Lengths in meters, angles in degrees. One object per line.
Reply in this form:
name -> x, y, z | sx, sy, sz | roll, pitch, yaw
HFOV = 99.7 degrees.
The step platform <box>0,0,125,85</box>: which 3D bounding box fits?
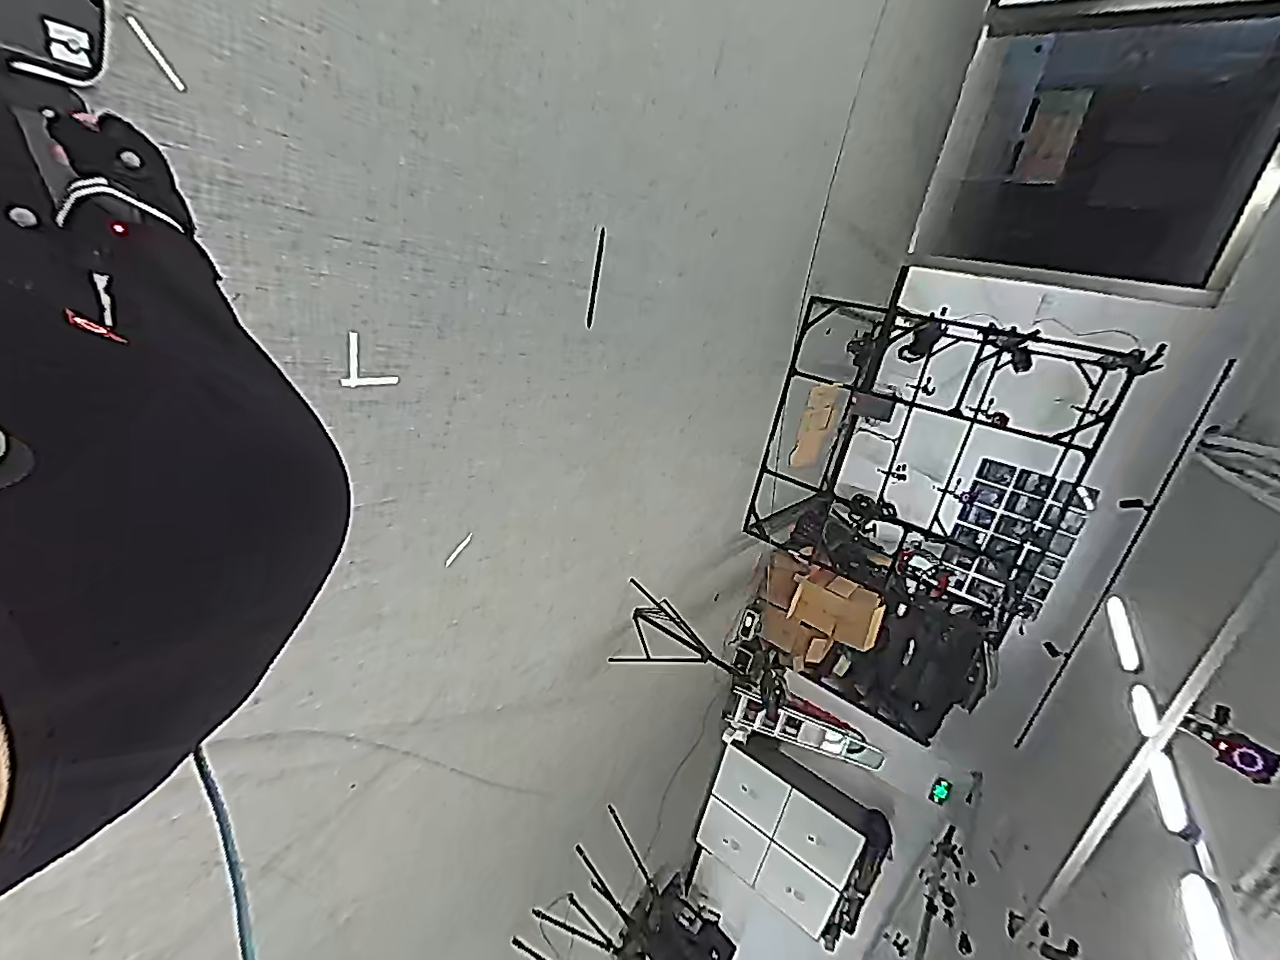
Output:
step platform -> -1.113, -0.782, 0.673 | 0.684, 0.204, 0.286 | -17, 125, -53
